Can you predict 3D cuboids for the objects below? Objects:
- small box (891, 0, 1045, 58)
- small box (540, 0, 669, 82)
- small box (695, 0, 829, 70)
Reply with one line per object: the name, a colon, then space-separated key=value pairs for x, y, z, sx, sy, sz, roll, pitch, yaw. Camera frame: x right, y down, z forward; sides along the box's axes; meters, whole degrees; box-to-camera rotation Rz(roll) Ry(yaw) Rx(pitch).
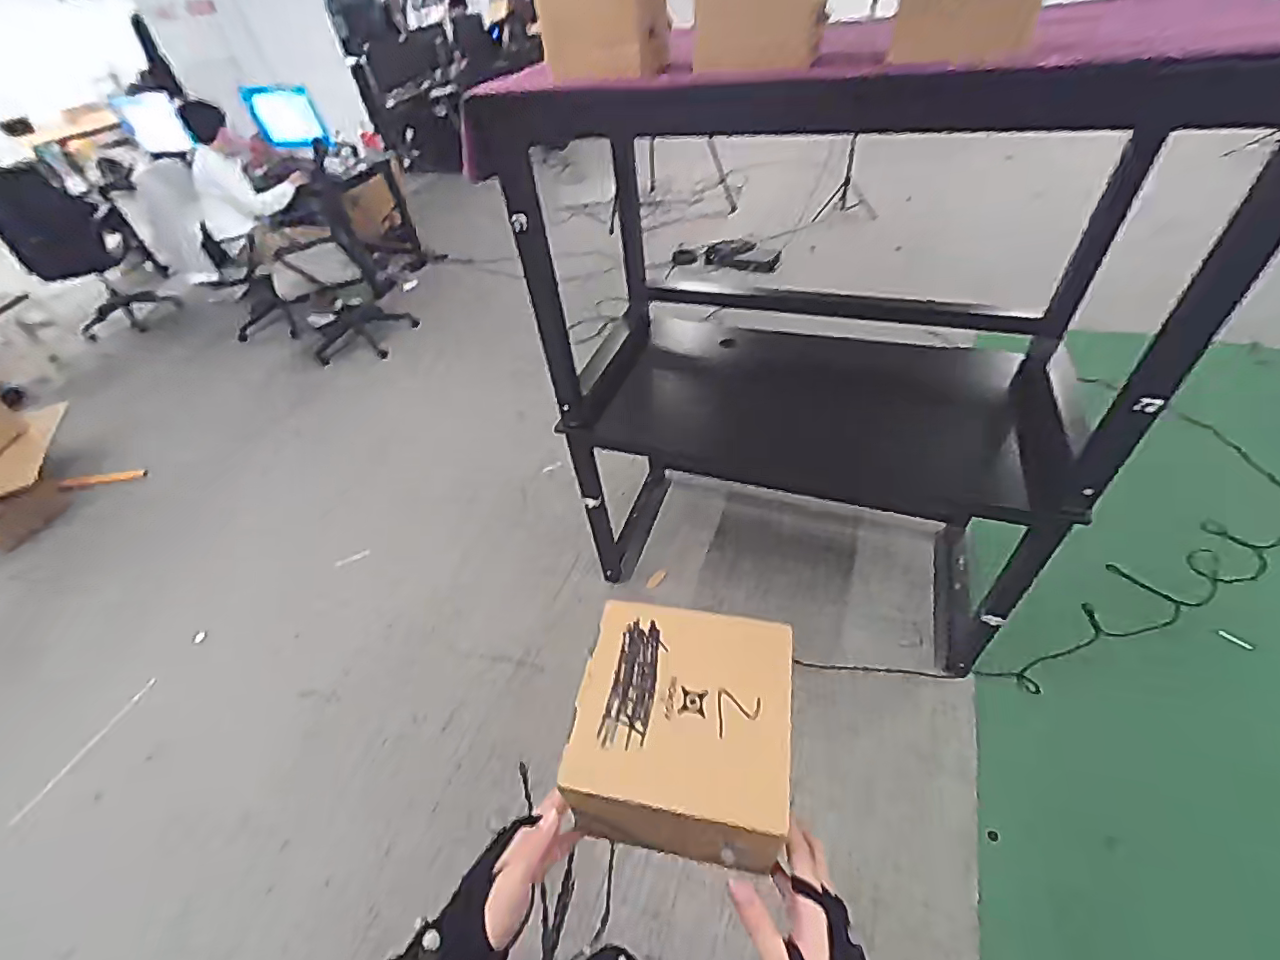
small box: x=0.449 y=-0.686 z=0.723 sx=0.179 sy=0.176 sz=0.168 roll=13 pitch=49 yaw=22
small box: x=-0.059 y=-0.782 z=0.902 sx=0.179 sy=0.176 sz=0.168 roll=9 pitch=47 yaw=17
small box: x=0.186 y=-0.739 z=0.817 sx=0.179 sy=0.176 sz=0.168 roll=13 pitch=49 yaw=20
